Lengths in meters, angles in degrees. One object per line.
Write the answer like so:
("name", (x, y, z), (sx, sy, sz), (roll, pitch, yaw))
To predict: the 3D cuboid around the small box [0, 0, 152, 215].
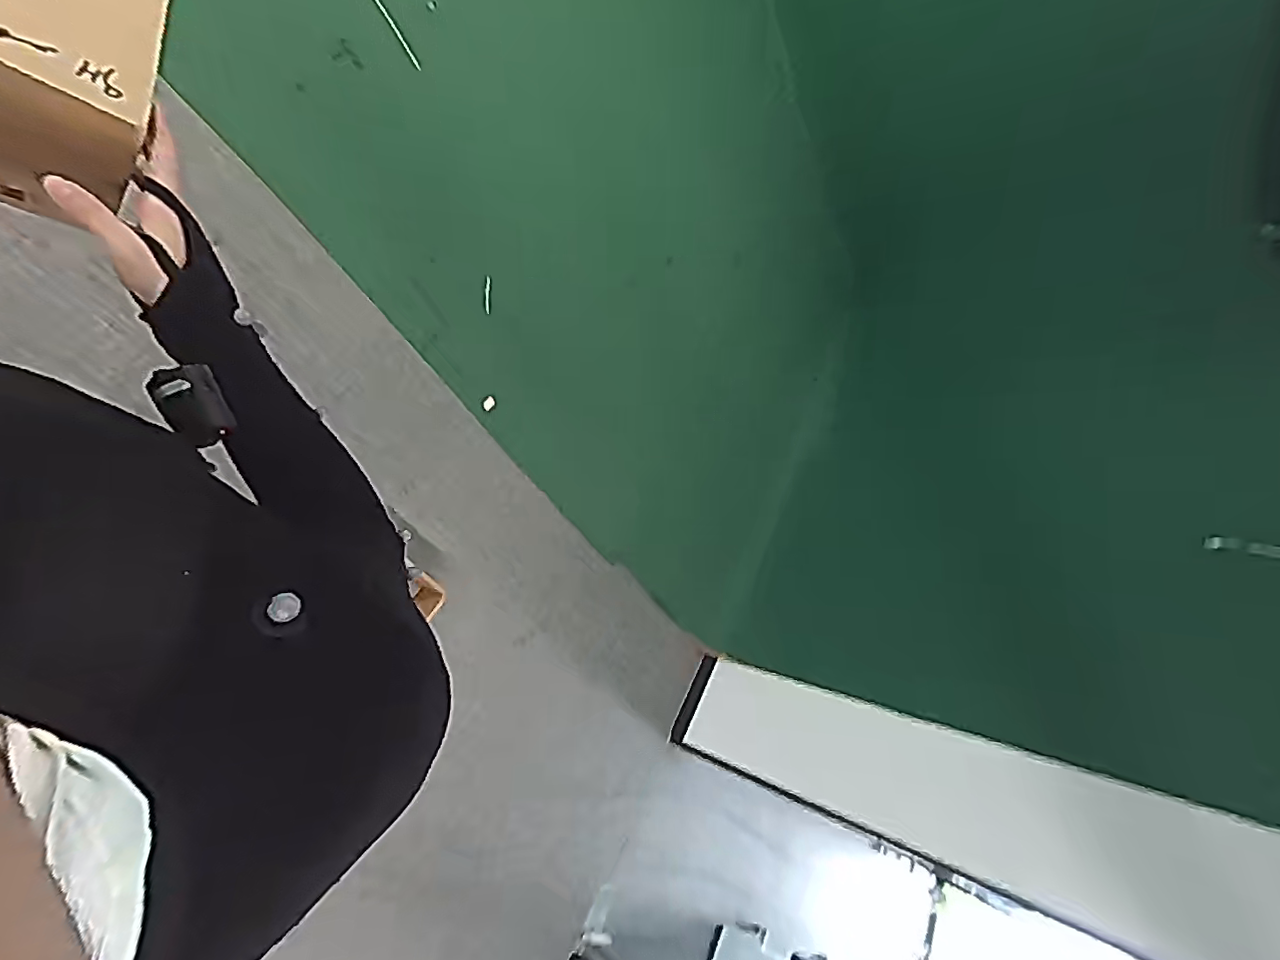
("small box", (-0.508, -0.353, 0.417), (0.168, 0.176, 0.179), (10, 68, -50))
